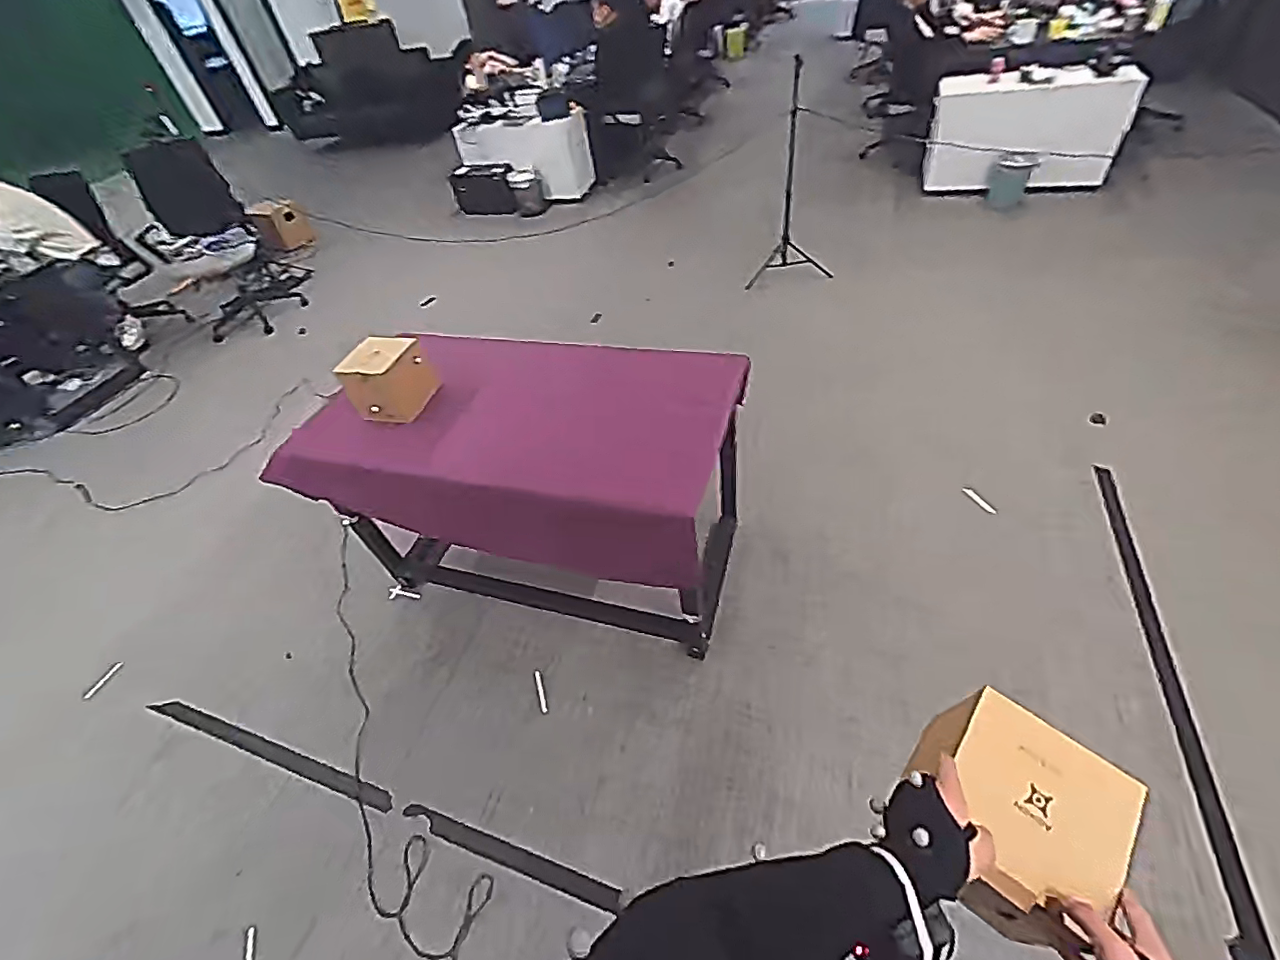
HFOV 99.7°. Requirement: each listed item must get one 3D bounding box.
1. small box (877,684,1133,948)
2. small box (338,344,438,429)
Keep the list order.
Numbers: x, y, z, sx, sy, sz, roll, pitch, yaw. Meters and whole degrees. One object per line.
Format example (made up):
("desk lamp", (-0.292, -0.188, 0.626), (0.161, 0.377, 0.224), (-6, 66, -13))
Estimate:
("small box", (0.396, 0.375, 0.616), (0.168, 0.176, 0.179), (33, 61, 24))
("small box", (-0.705, -0.269, 1.541), (0.168, 0.176, 0.179), (5, 48, 16))
